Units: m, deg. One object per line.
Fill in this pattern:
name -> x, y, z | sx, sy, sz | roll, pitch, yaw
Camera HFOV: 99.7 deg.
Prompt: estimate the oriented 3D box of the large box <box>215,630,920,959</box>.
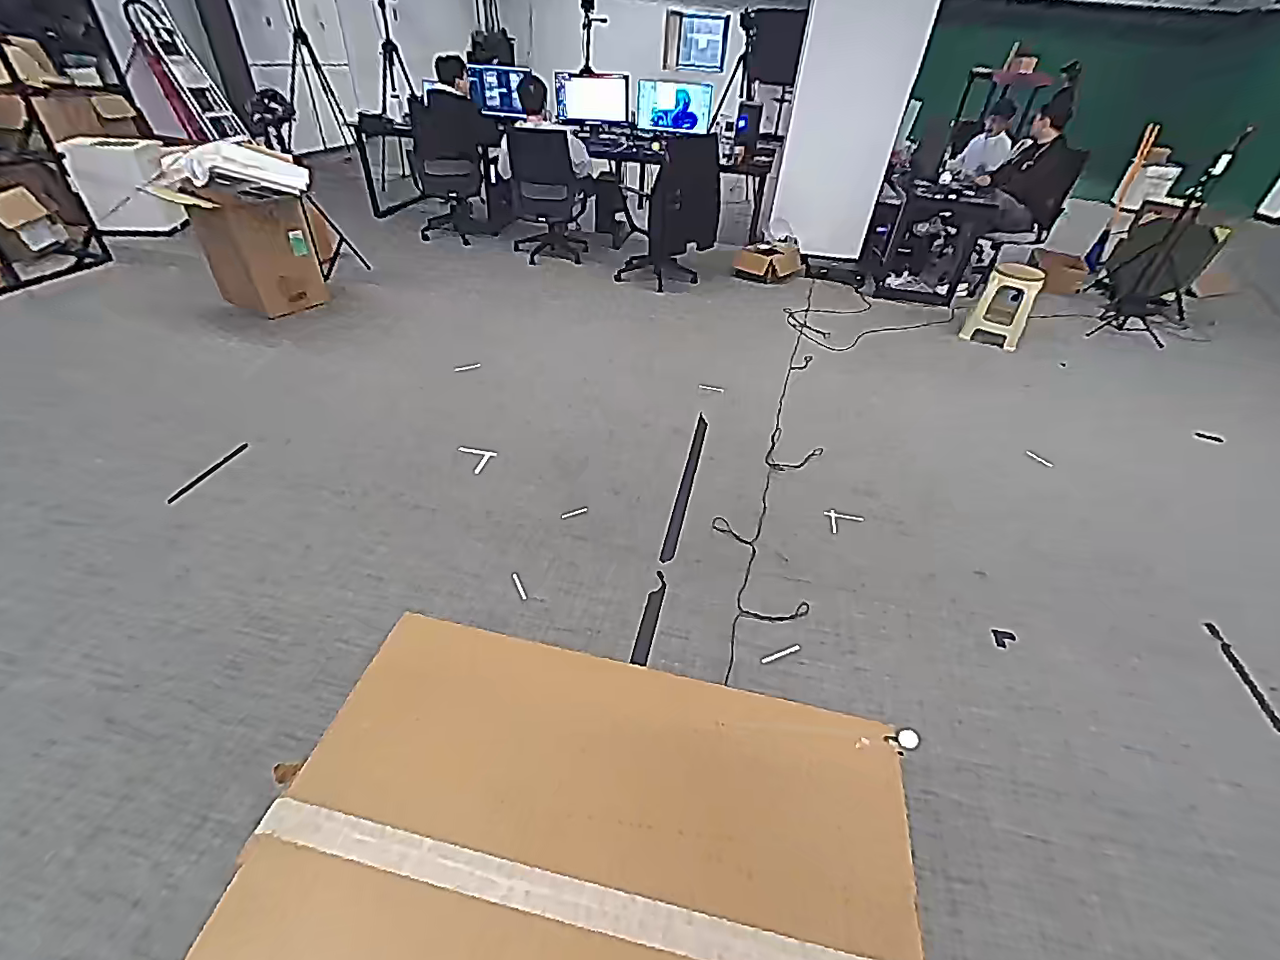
large box -> -0.042, 0.370, 0.430 | 0.408, 0.320, 0.320 | 11, 44, 6
